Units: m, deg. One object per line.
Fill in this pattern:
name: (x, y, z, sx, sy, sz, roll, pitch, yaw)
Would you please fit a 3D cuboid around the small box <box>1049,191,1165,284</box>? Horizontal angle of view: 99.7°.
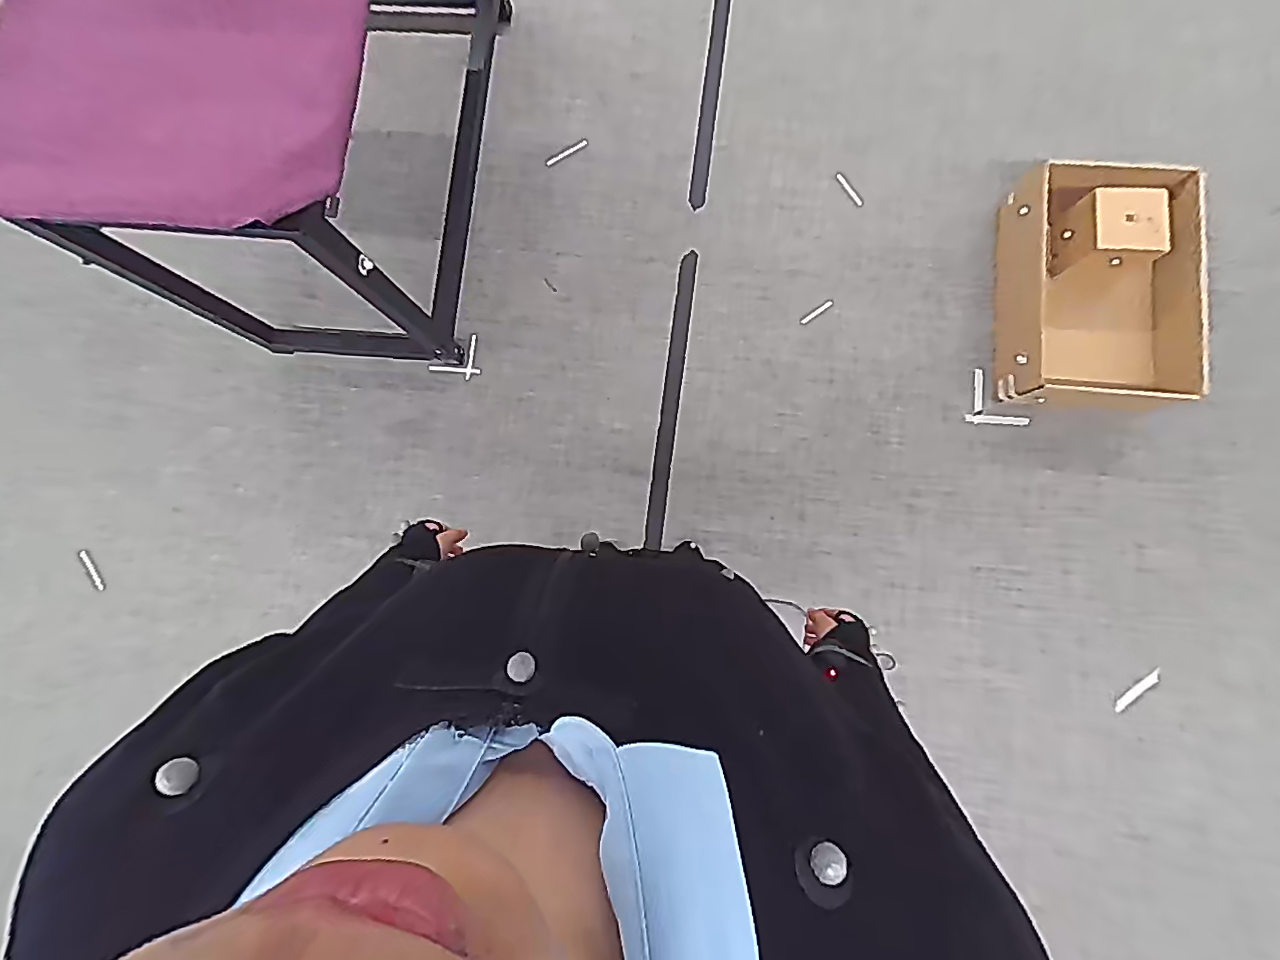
small box: (1.228, -0.636, 1.435, 0.179, 0.176, 0.168, 4, 85, 3)
